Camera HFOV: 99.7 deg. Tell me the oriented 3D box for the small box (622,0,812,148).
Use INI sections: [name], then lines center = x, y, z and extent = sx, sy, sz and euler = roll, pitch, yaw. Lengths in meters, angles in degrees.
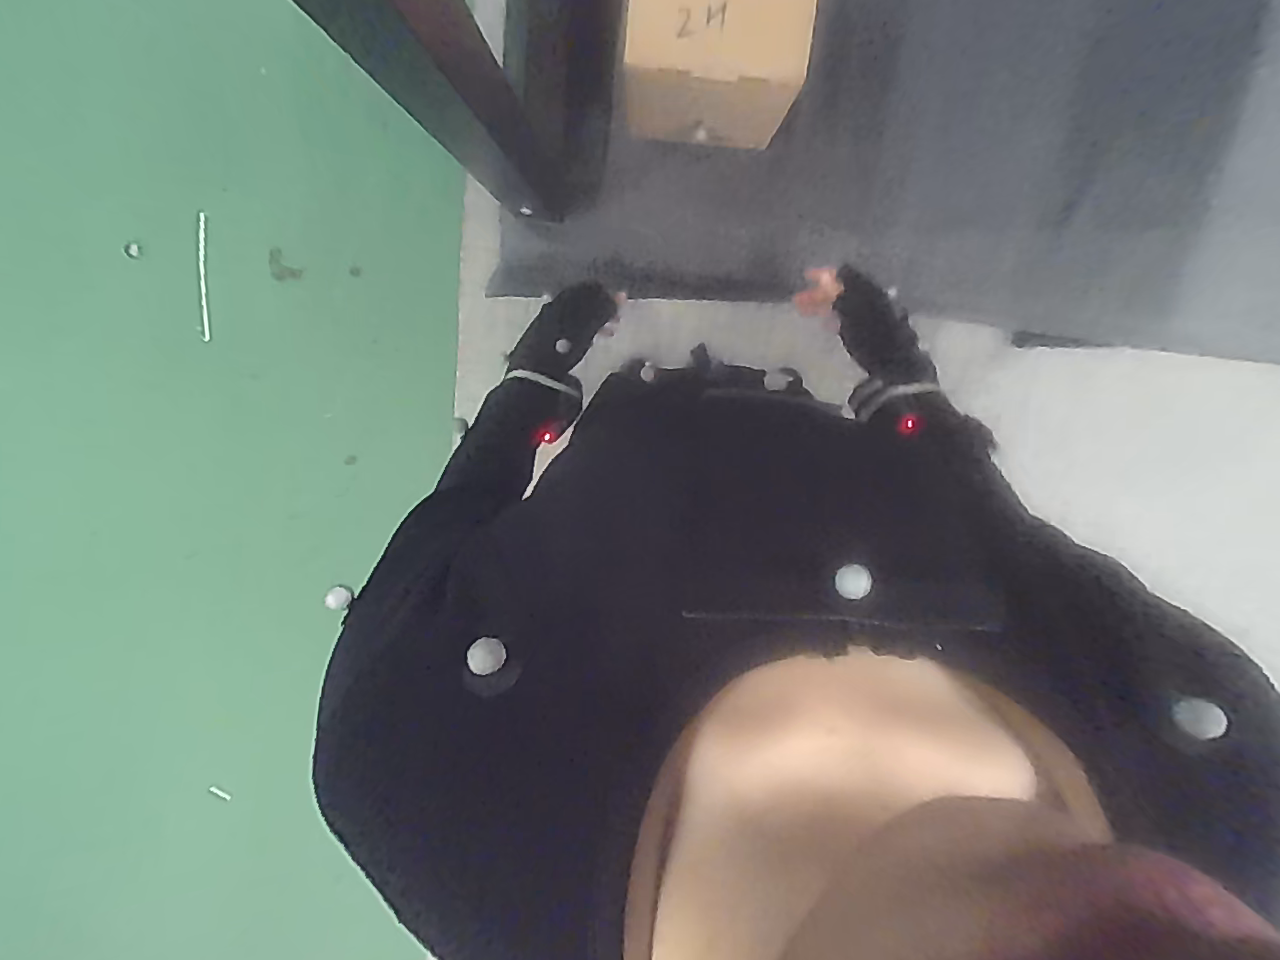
[small box]
center = 0.072, -0.466, 0.542
extent = 0.168, 0.176, 0.179
euler = 5, 103, 0
